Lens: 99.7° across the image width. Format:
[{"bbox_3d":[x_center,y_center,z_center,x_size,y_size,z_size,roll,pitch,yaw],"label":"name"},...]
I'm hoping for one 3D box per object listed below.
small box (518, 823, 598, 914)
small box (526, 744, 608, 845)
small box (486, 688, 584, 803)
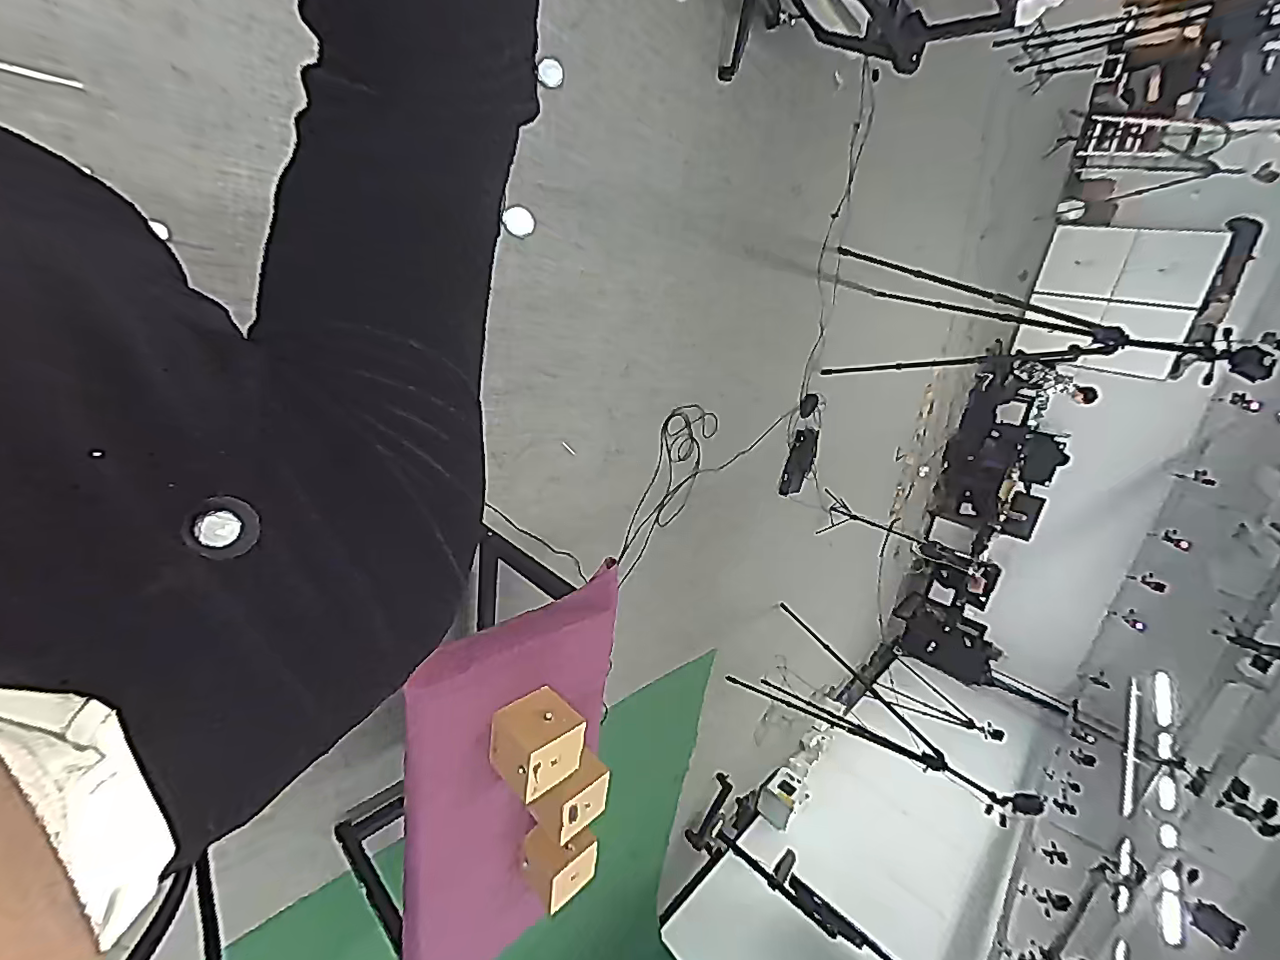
[{"bbox_3d":[-0.256,1.169,1.678,0.179,0.176,0.168,-15,118,-45],"label":"small box"},{"bbox_3d":[-0.218,0.903,1.585,0.179,0.176,0.168,-15,119,-47],"label":"small box"},{"bbox_3d":[-0.273,0.677,1.402,0.179,0.176,0.168,-13,118,-47],"label":"small box"}]
